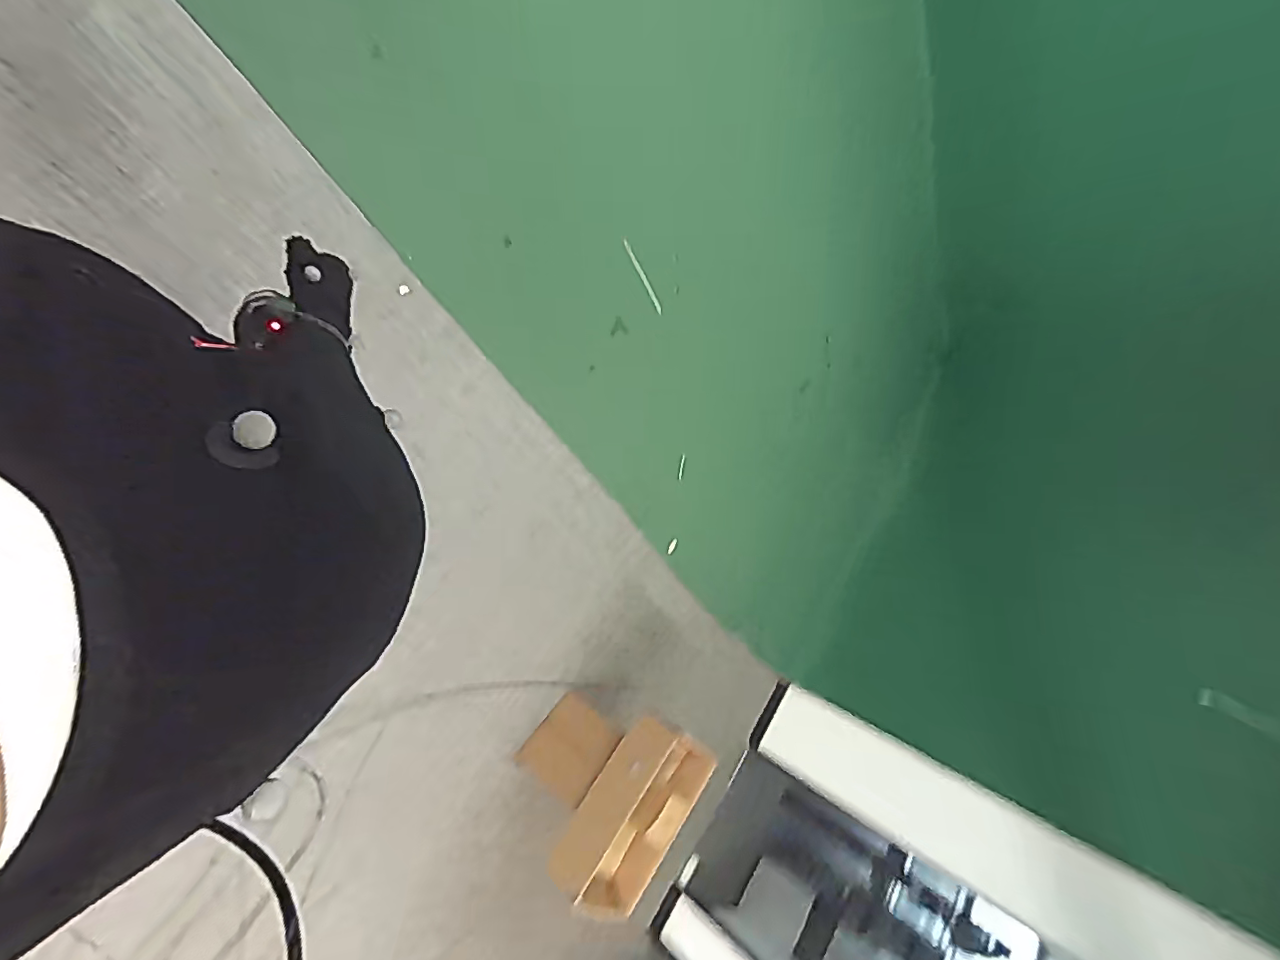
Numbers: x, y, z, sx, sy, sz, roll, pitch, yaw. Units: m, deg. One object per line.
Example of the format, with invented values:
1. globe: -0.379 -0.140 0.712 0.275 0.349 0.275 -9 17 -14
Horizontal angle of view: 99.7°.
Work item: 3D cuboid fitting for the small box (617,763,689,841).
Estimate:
1. small box: 0.044 1.168 1.969 0.168 0.176 0.179 -50 136 -19
